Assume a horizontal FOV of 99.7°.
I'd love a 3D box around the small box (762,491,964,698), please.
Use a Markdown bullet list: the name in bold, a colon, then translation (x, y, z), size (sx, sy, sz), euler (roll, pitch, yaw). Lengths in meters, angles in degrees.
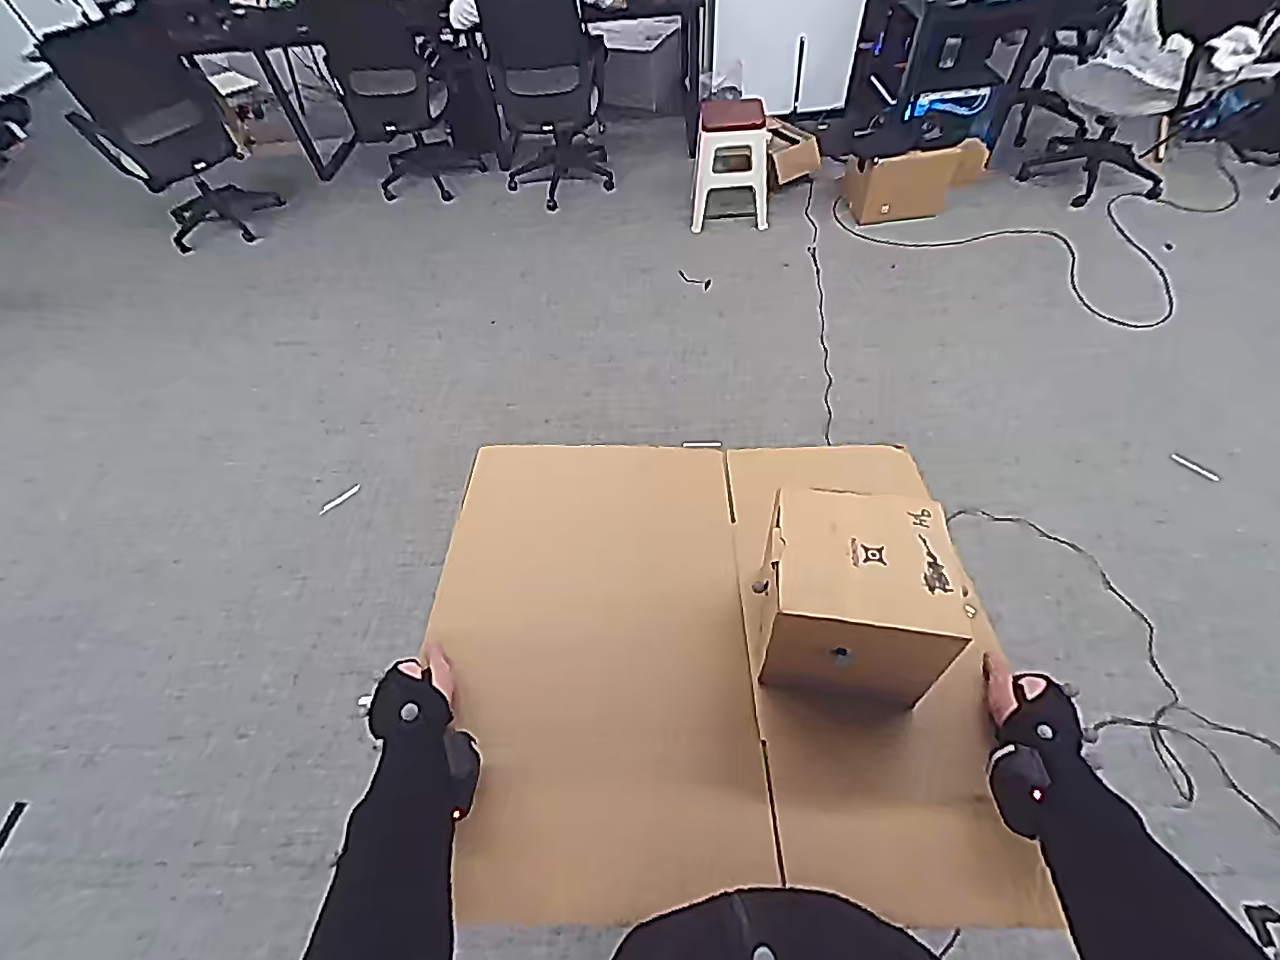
- **small box**: translation (0.235, 0.133, 0.621), size (0.179, 0.176, 0.168), euler (5, 49, 10)
